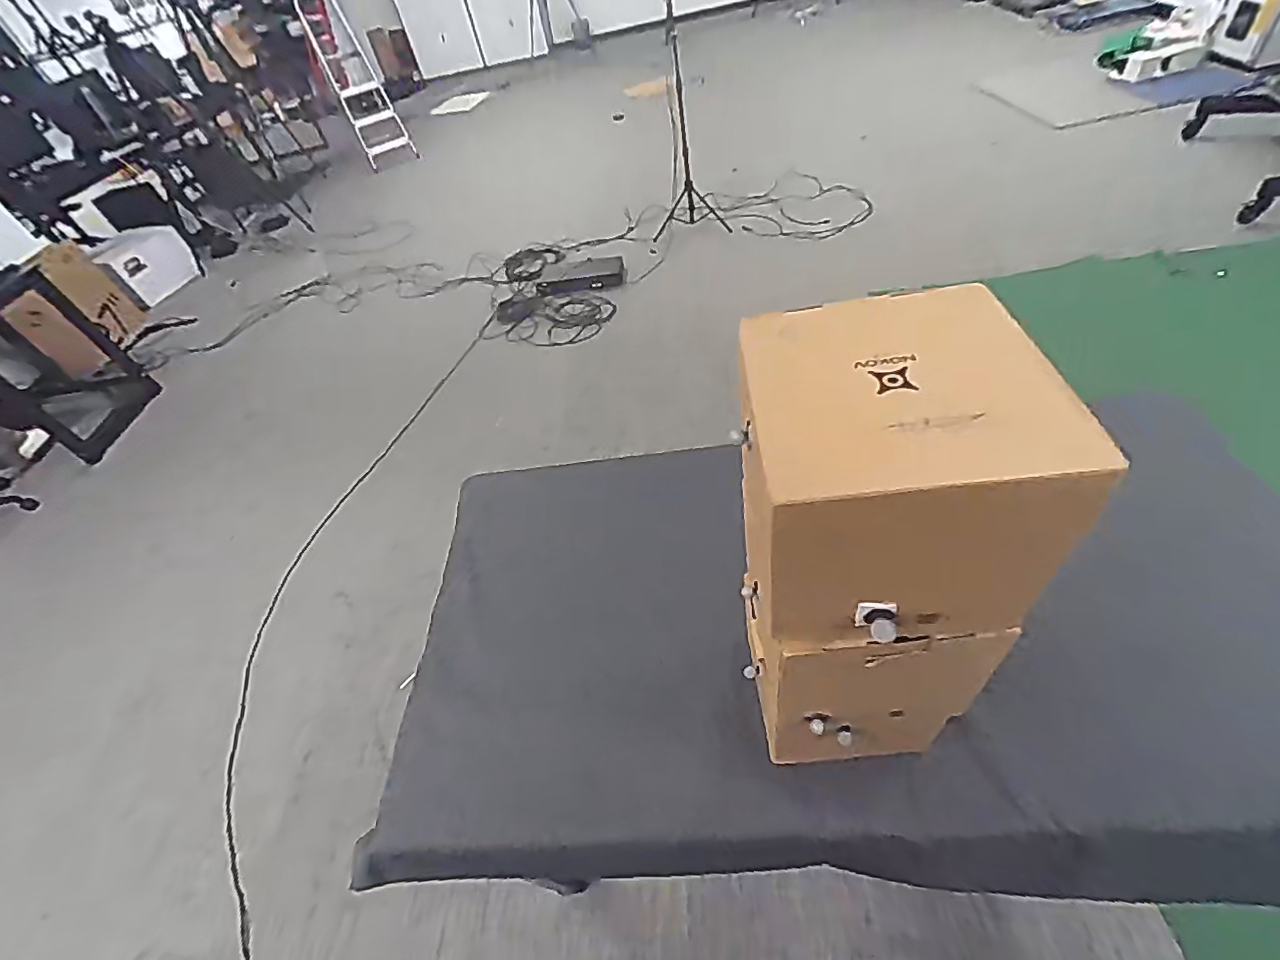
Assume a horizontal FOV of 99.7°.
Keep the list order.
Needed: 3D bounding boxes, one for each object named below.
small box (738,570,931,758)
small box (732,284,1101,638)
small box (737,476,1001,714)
[{"bbox_3d":[0.221,0.203,0.628,0.179,0.176,0.168,-11,45,3],"label":"small box"},{"bbox_3d":[0.158,-0.009,0.385,0.168,0.176,0.179,-7,48,9],"label":"small box"},{"bbox_3d":[0.188,0.101,0.499,0.168,0.176,0.179,-8,46,6],"label":"small box"}]
